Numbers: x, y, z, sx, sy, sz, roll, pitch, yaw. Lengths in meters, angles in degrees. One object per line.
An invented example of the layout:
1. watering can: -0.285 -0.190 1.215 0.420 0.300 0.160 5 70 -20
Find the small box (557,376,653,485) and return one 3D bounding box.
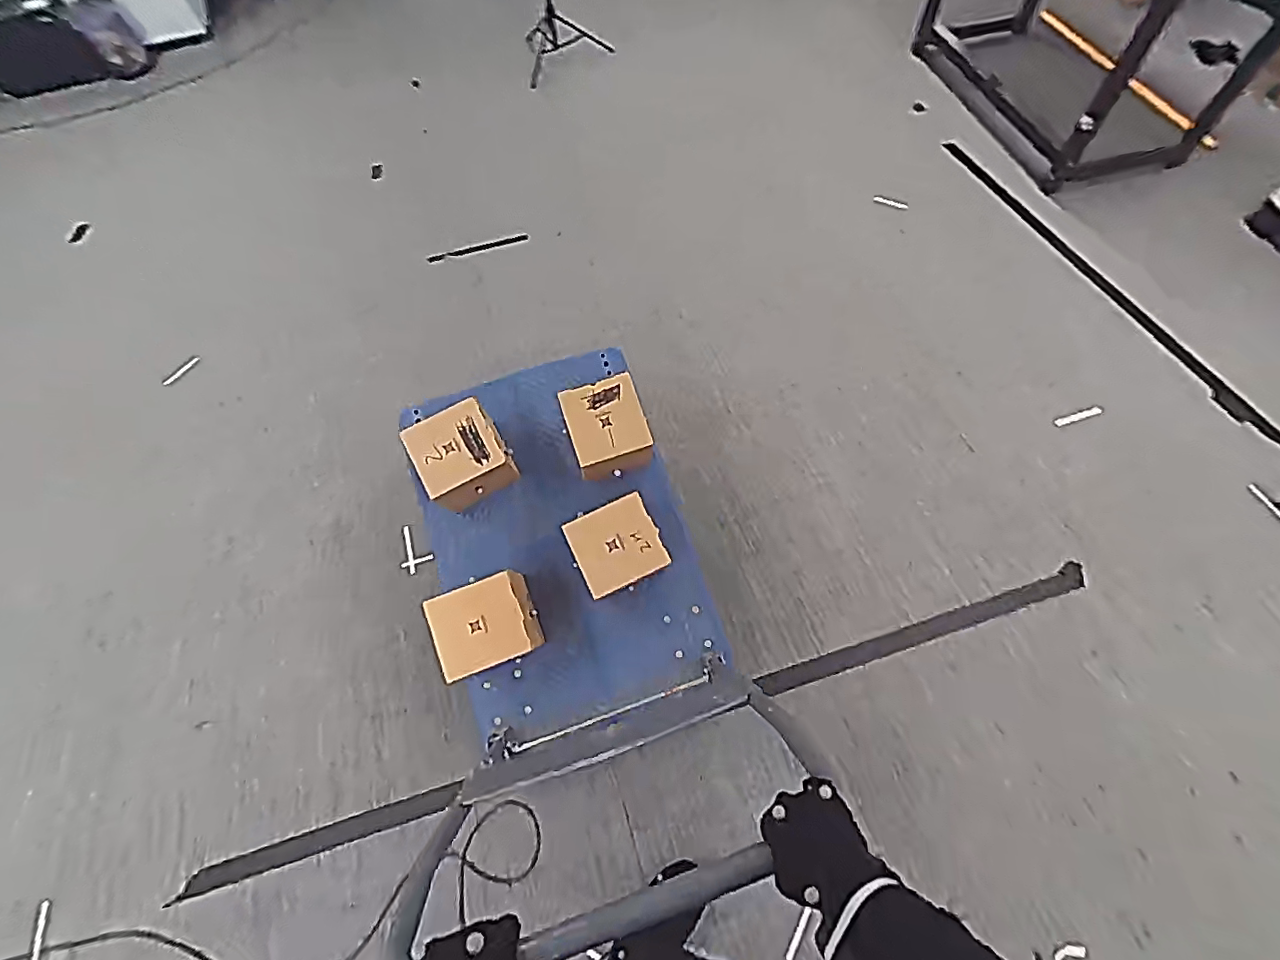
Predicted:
1. small box: -0.079 -0.107 1.231 0.168 0.176 0.179 -19 80 -5

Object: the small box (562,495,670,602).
1. small box: -0.049 0.155 1.173 0.179 0.176 0.168 -26 80 -7

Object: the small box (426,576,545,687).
1. small box: -0.315 0.313 1.132 0.179 0.176 0.168 -22 78 -8
